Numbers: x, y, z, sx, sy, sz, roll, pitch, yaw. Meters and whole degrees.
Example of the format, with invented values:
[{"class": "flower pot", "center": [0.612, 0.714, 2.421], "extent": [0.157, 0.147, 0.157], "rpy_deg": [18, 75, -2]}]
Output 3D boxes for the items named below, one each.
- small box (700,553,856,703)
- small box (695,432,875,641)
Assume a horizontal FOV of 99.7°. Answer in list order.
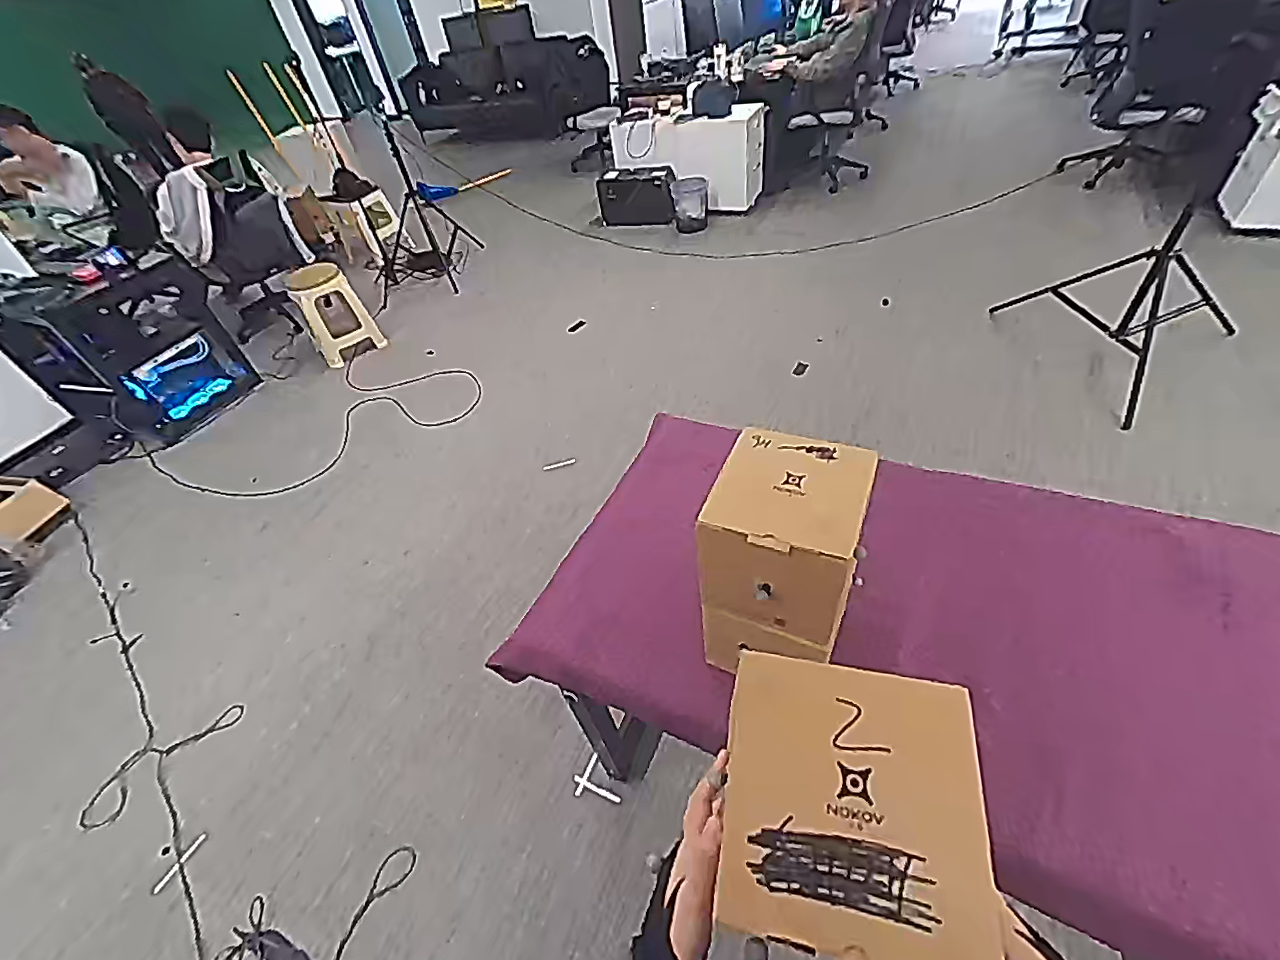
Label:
[{"class": "small box", "center": [0.200, 0.190, 0.785], "extent": [0.168, 0.176, 0.179], "rpy_deg": [16, 49, 24]}, {"class": "small box", "center": [0.180, 0.071, 0.675], "extent": [0.168, 0.176, 0.179], "rpy_deg": [15, 49, 22]}]
